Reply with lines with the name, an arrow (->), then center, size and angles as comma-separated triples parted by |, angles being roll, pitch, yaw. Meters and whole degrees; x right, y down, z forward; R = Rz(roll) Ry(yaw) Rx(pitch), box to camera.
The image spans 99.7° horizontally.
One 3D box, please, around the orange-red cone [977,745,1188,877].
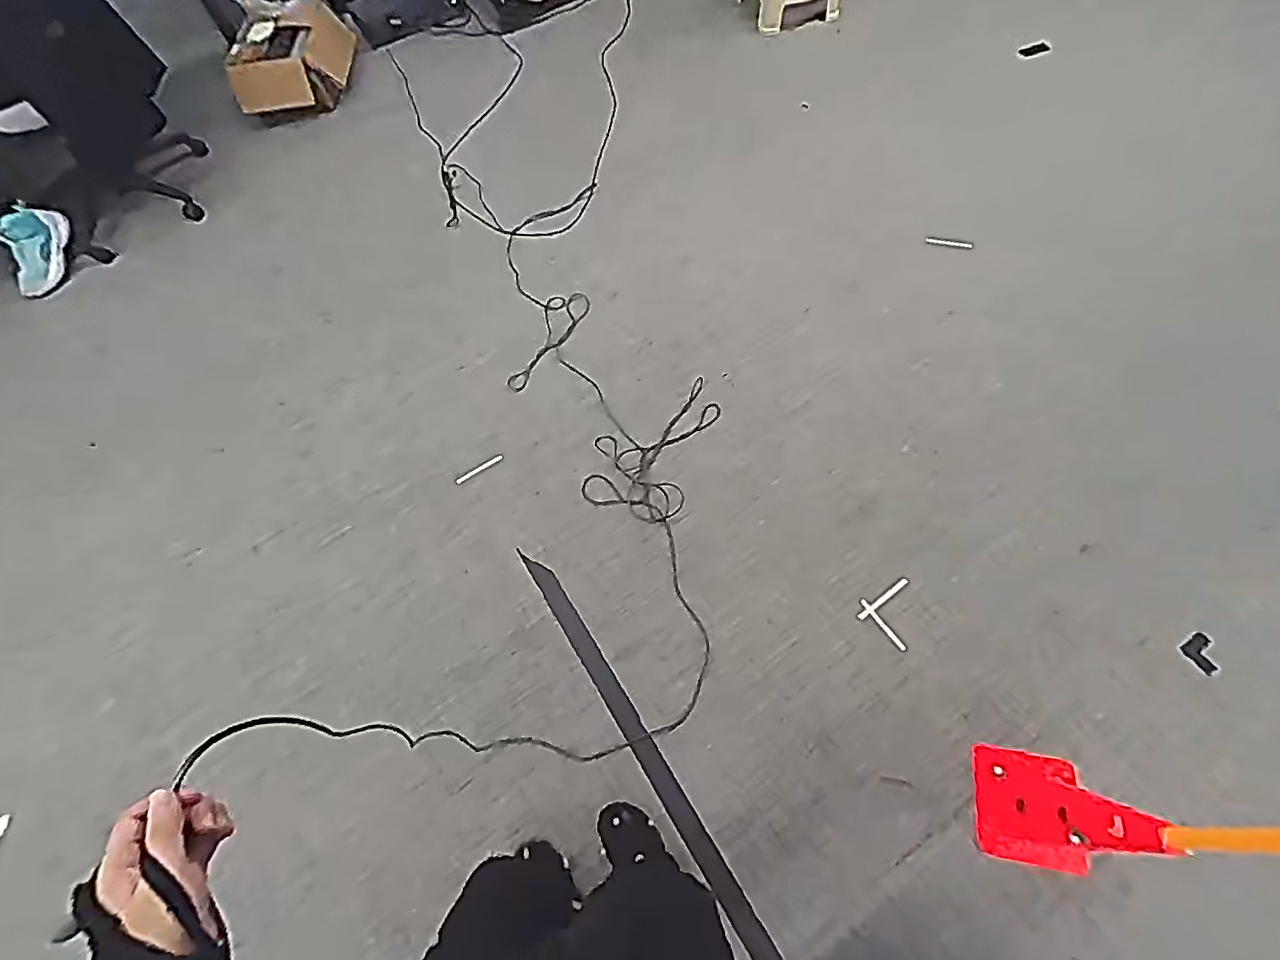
orange-red cone -> 0.757, 0.577, 0.910 | 0.198, 0.360, 0.199 | 9, 67, 9
